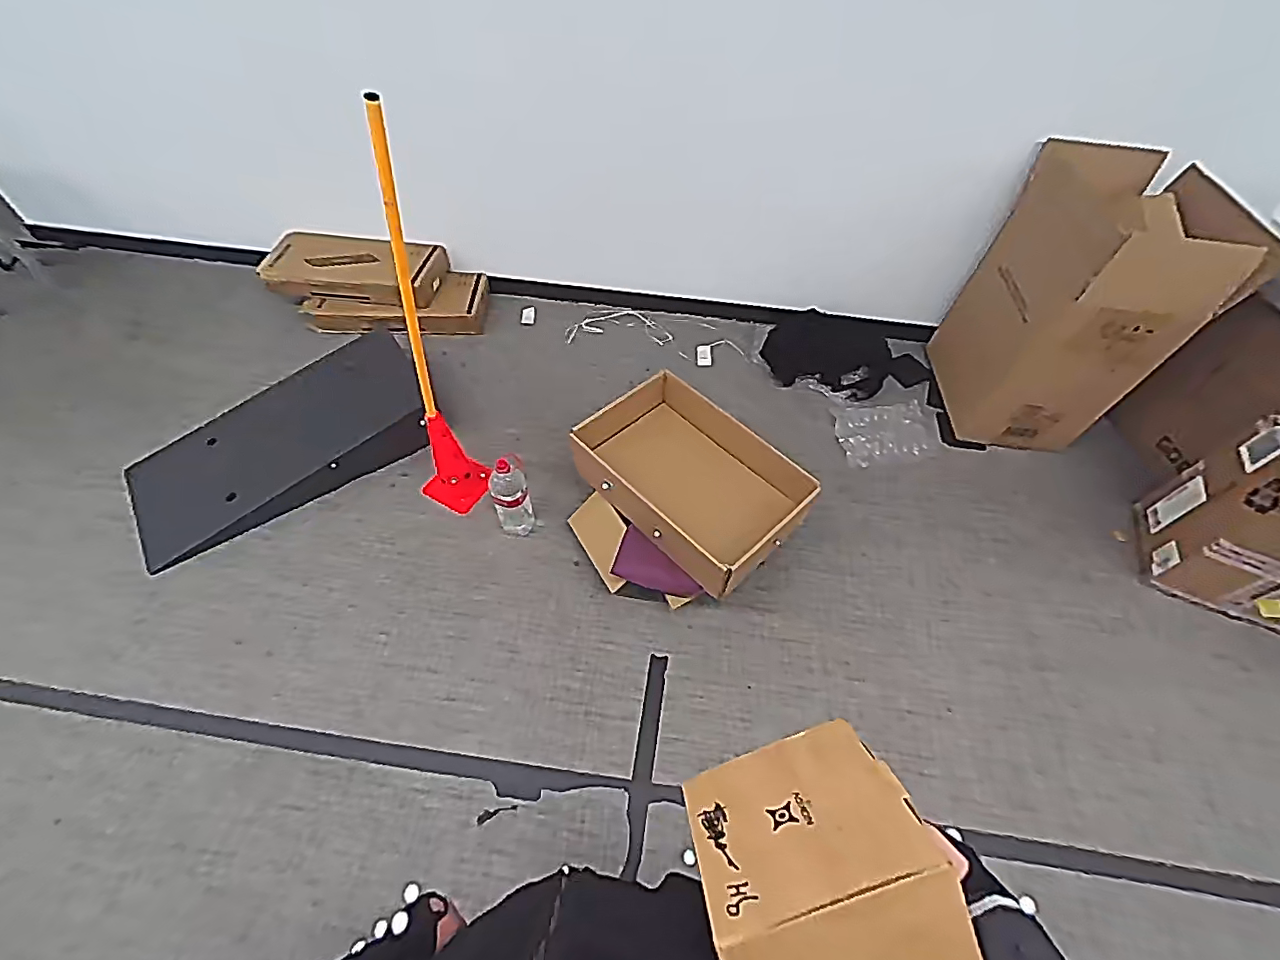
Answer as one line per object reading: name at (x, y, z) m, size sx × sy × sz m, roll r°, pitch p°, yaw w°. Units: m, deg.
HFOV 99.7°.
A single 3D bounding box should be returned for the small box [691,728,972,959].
small box at (0.162, 0.365, 0.476) m, size 0.179 × 0.168 × 0.176 m, roll -20°, pitch 99°, yaw -1°
